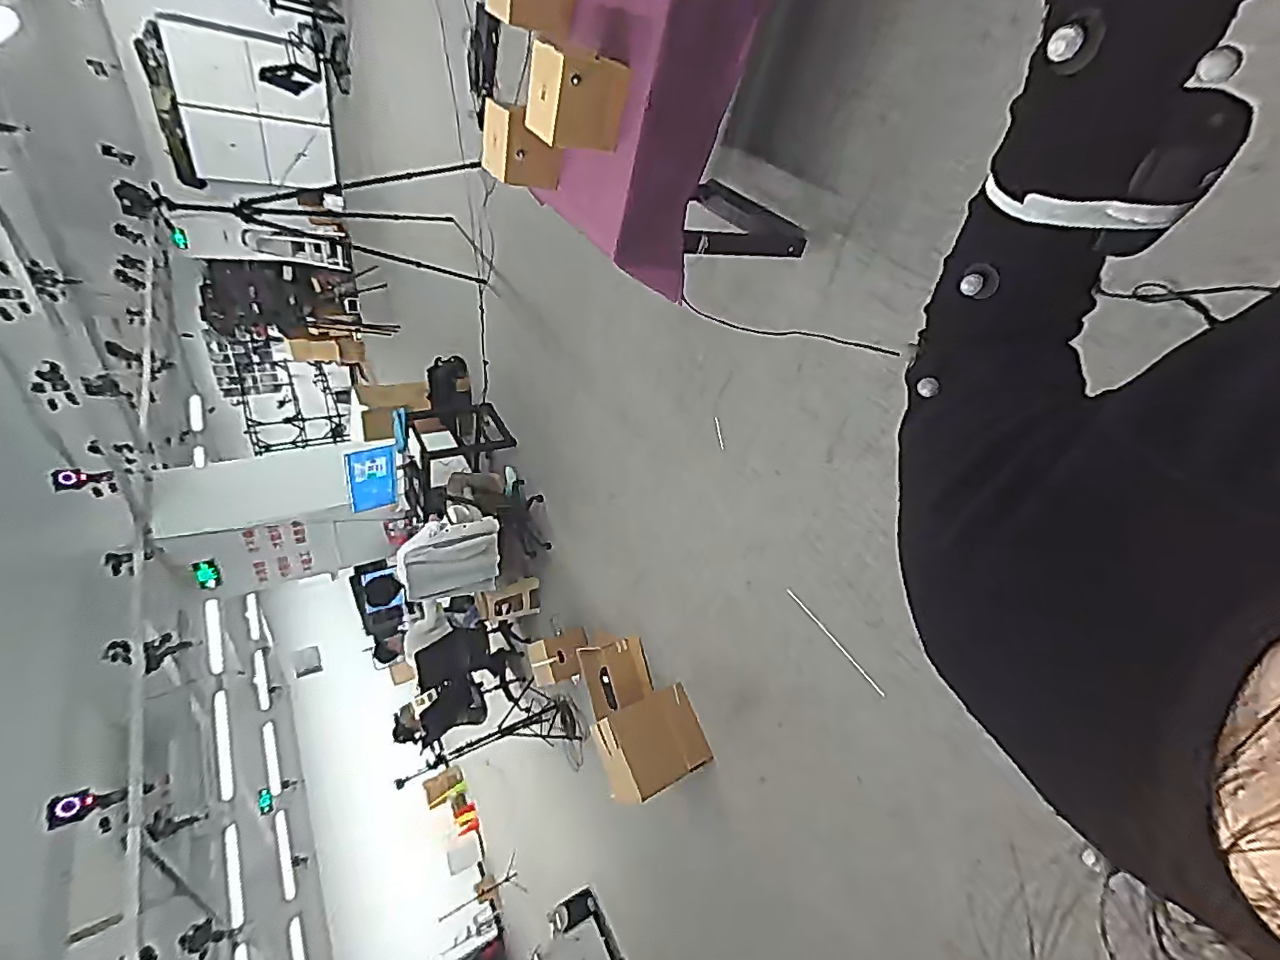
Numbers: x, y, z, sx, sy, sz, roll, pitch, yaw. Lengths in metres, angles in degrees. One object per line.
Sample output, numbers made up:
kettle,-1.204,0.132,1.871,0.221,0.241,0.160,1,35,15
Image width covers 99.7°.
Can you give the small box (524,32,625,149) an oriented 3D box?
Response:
small box,-0.154,-0.903,1.266,0.168,0.176,0.179,53,140,33
